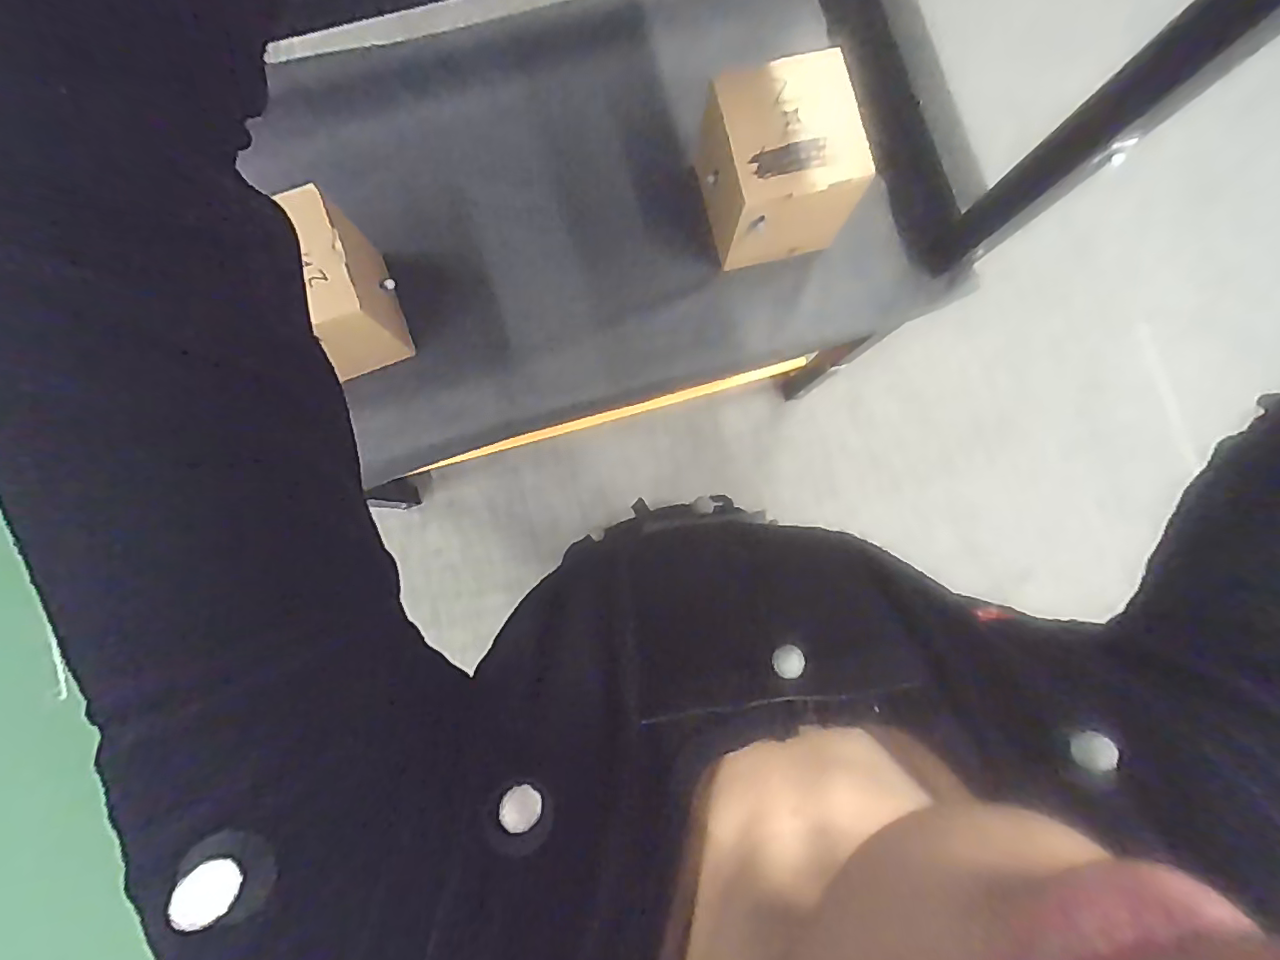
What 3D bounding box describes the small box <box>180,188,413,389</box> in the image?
[{"bbox_3d":[-0.434,-0.236,0.711,0.179,0.176,0.168,-20,86,-3],"label":"small box"}]
